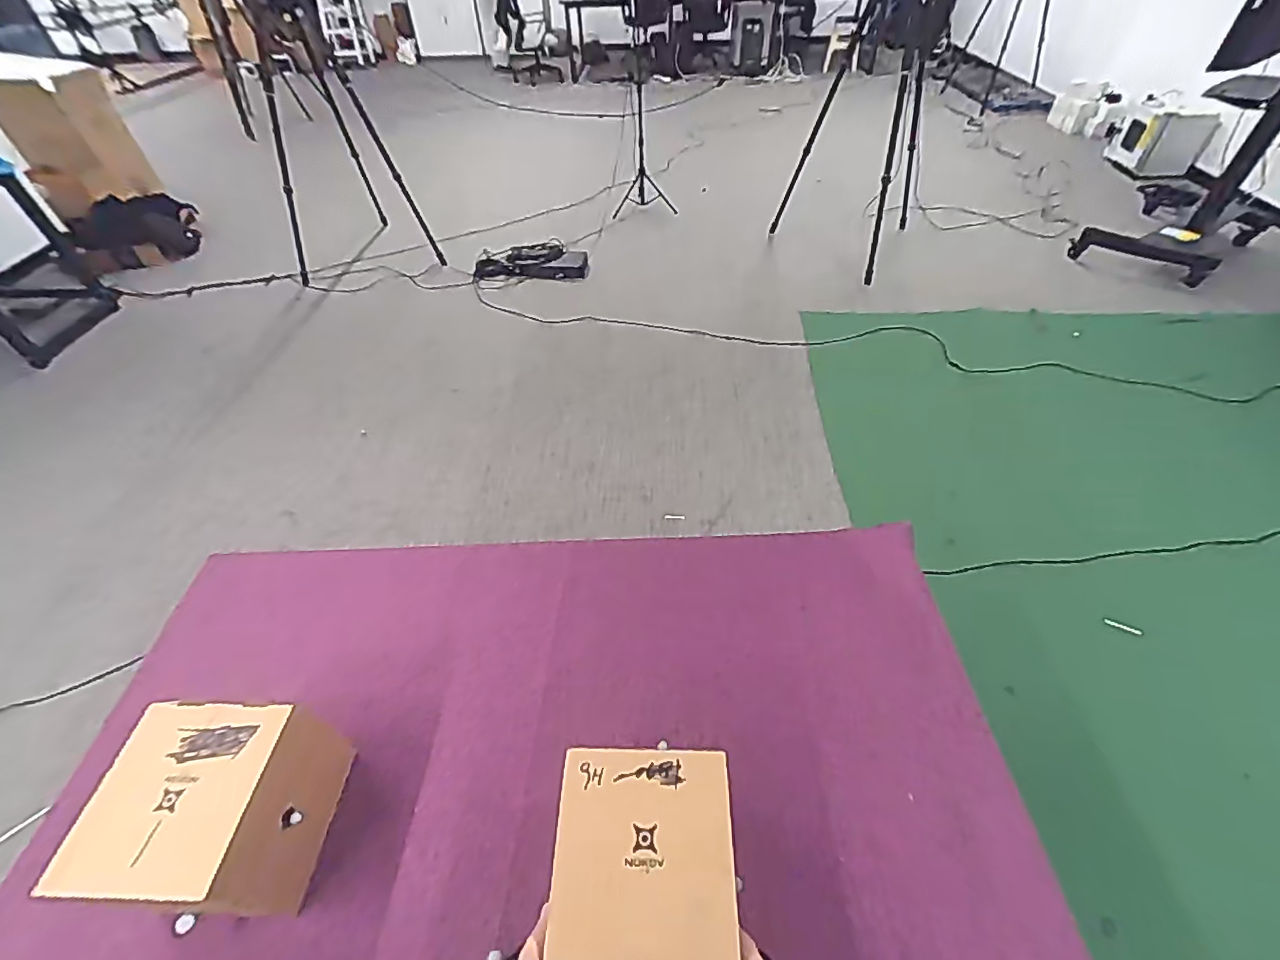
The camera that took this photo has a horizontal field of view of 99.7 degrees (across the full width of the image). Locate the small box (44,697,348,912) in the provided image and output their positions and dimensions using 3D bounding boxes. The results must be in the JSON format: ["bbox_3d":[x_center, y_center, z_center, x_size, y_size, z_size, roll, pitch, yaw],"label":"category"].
[{"bbox_3d":[-0.460,0.362,0.604,0.168,0.176,0.179,0,48,2],"label":"small box"}]

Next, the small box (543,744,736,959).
[{"bbox_3d":[0.006,0.392,0.559,0.168,0.176,0.179,1,48,3],"label":"small box"}]
